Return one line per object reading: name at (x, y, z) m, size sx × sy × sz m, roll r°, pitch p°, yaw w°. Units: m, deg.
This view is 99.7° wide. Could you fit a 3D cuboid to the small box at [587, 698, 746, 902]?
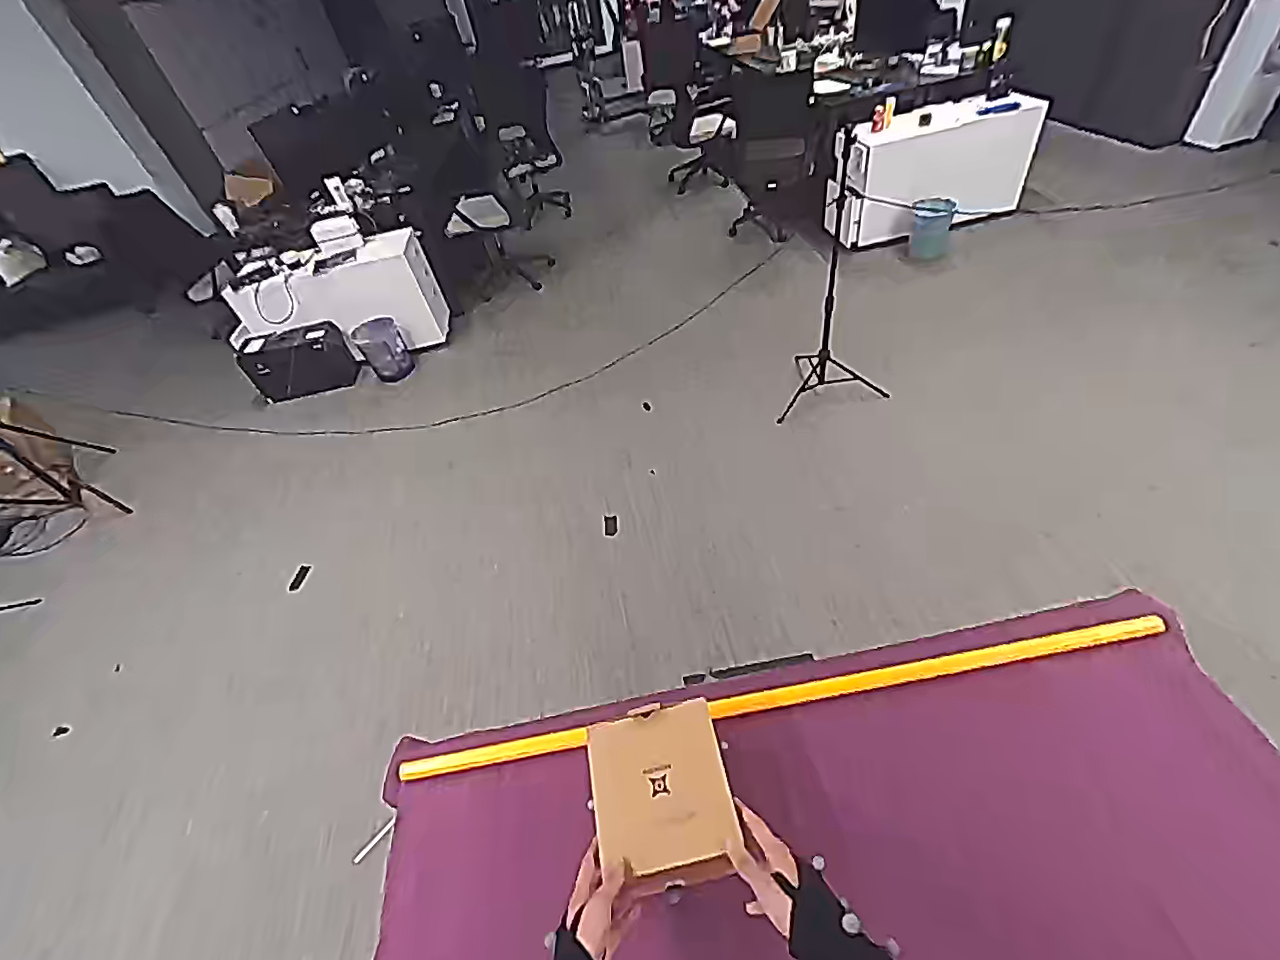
small box at (0.035, 0.421, 0.711) m, size 0.168 × 0.176 × 0.179 m, roll -14°, pitch 46°, yaw -1°
